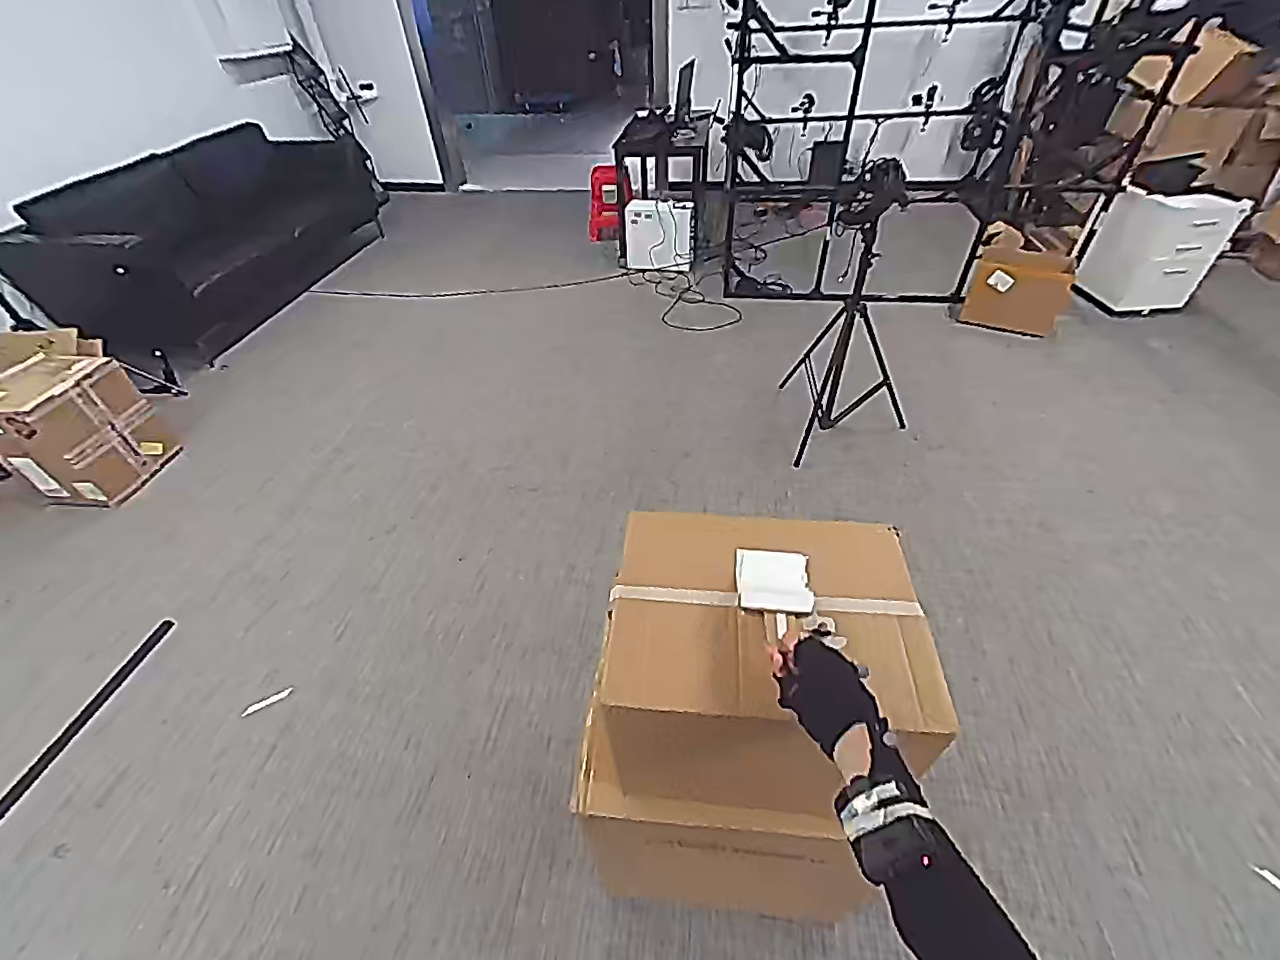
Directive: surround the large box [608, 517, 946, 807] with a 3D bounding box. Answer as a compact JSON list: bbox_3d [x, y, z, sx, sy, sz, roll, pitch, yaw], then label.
[{"bbox_3d":[0.172,0.279,0.844,0.408,0.320,0.320,3,43,5],"label":"large box"}]
